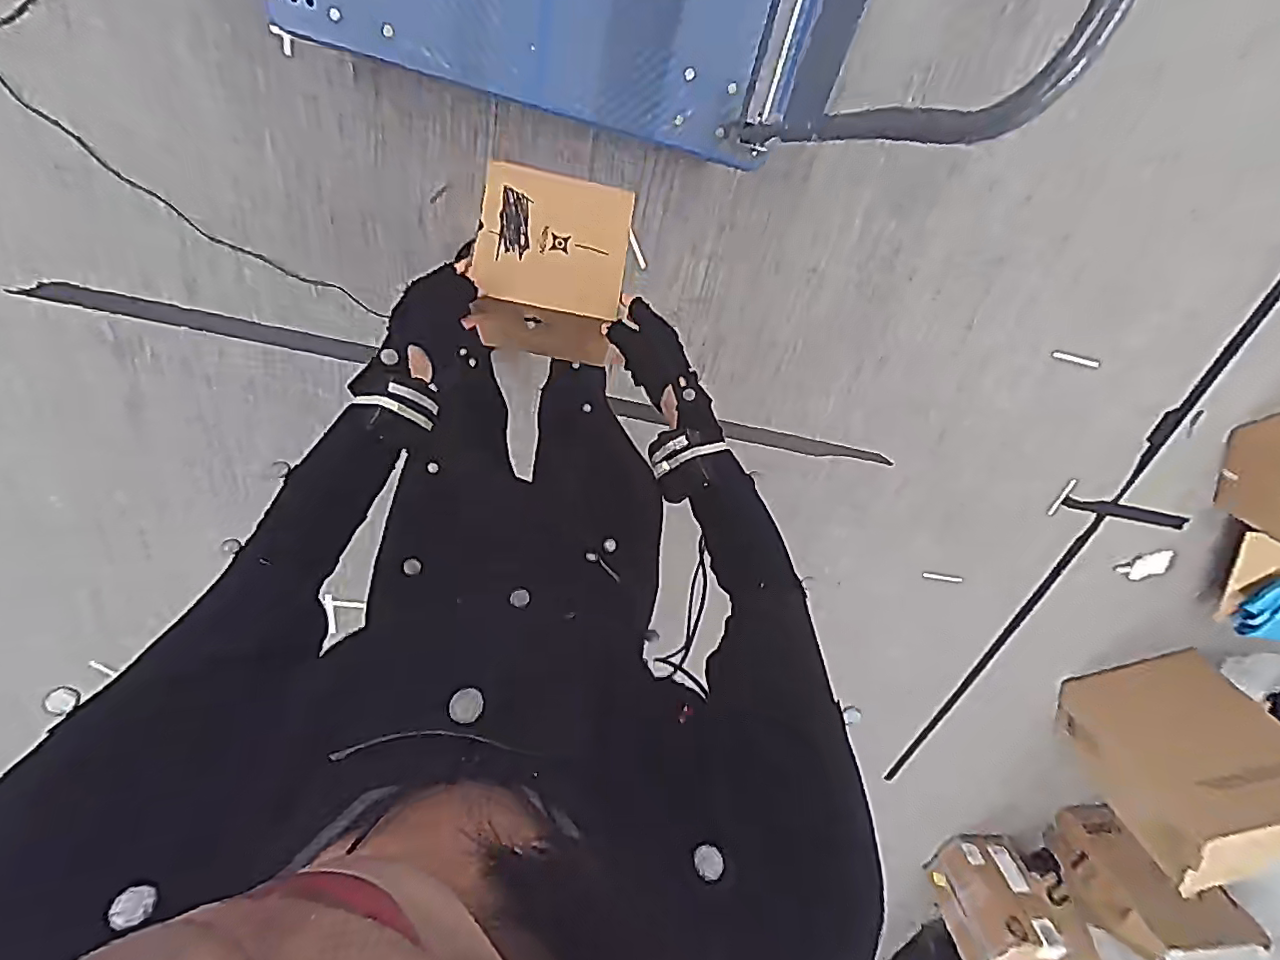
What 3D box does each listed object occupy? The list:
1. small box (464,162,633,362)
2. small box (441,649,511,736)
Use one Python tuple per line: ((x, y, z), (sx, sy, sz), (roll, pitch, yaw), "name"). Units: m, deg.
((-0.118, -0.269, 0.710), (0.179, 0.176, 0.168), (9, 81, -10), "small box")
((-0.495, 0.646, 1.647), (0.168, 0.176, 0.179), (13, 120, -13), "small box")
